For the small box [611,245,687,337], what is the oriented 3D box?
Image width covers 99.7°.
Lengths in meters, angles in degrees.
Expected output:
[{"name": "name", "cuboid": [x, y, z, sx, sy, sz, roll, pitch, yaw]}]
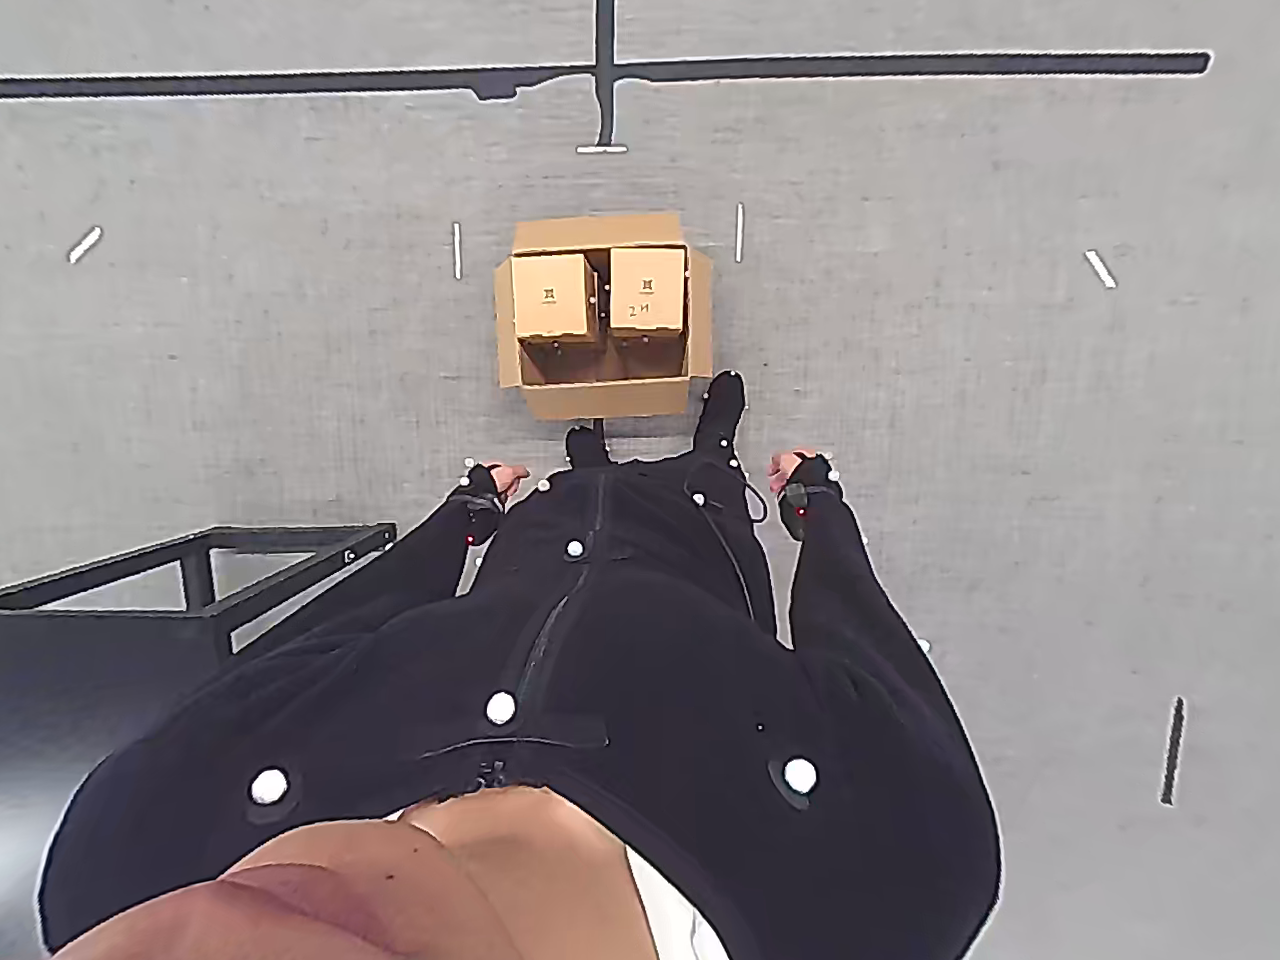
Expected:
[{"name": "small box", "cuboid": [0.019, -0.440, 1.278, 0.168, 0.176, 0.179, 2, 99, 1]}]
